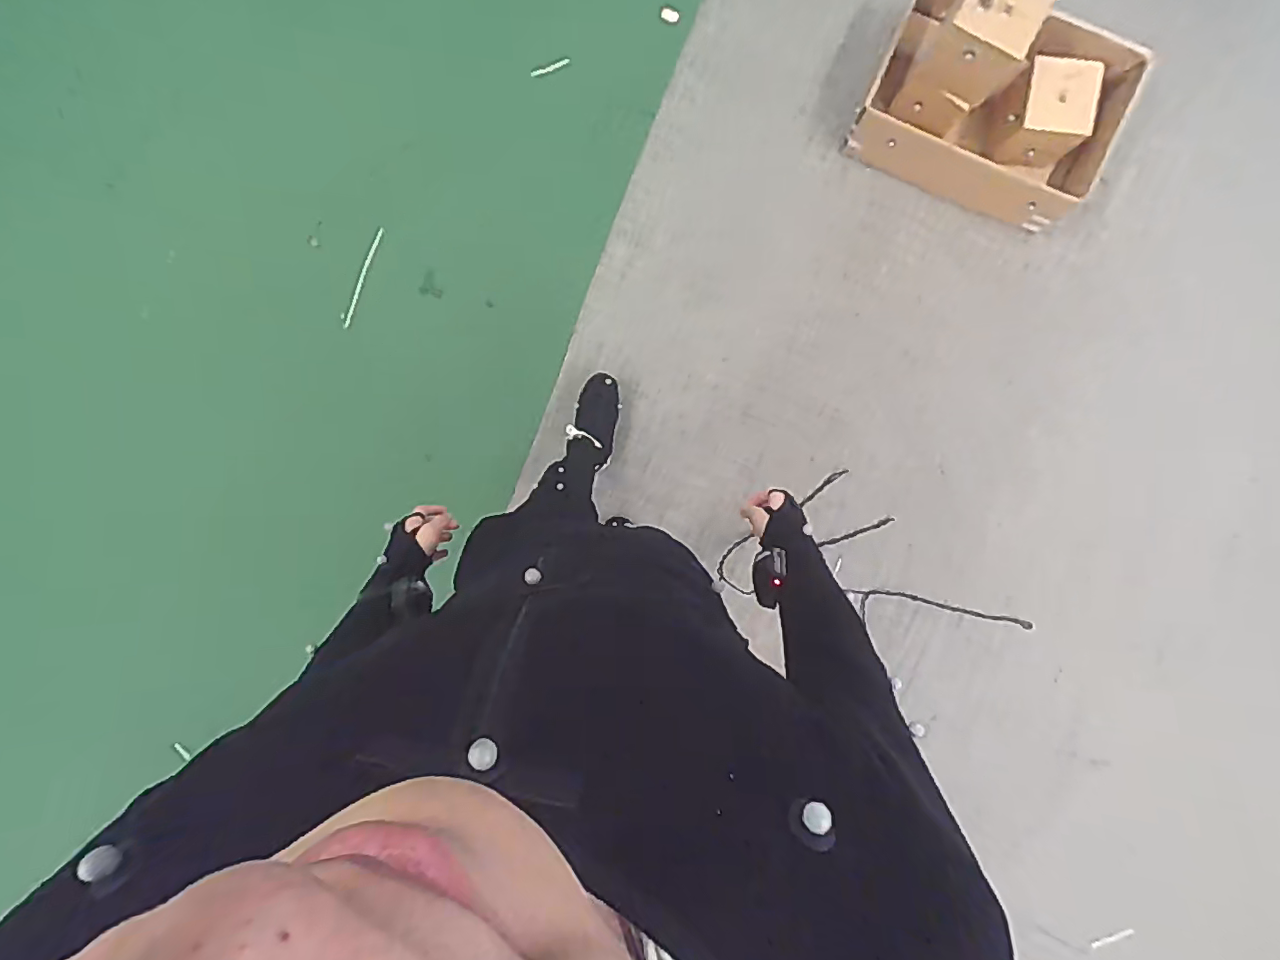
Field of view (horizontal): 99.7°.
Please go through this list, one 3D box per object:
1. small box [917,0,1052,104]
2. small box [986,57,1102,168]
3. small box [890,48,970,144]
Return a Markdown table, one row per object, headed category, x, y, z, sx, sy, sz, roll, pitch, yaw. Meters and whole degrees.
| category | x | y | z | sx | sy | sz | roll | pitch | yaw |
| --- | --- | --- | --- | --- | --- | --- | --- | --- | --- |
| small box | 0.782 | -1.019 | 1.243 | 0.179 | 0.176 | 0.168 | 27 | 93 | -1 |
| small box | 1.034 | -0.942 | 1.401 | 0.168 | 0.176 | 0.179 | 8 | 93 | 2 |
| small box | 0.786 | -1.028 | 1.407 | 0.168 | 0.176 | 0.179 | 34 | 92 | -1 |
